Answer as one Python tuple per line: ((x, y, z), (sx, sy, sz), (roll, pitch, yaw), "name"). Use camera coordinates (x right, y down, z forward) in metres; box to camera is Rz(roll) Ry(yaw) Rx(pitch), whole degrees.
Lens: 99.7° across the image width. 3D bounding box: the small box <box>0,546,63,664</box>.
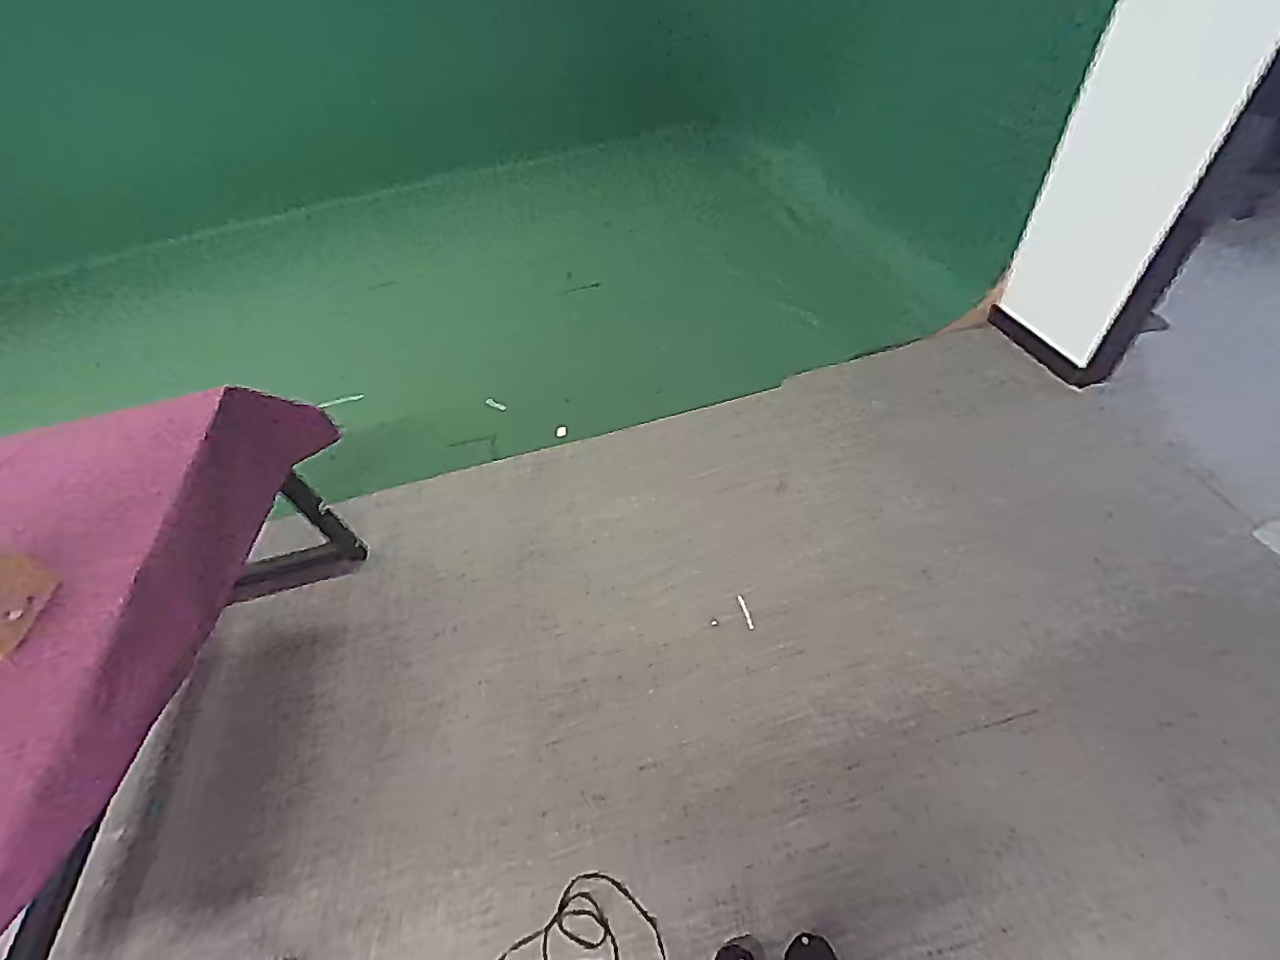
((-1.160, 0.214, 0.903), (0.179, 0.176, 0.168), (-10, 50, 1), "small box")
